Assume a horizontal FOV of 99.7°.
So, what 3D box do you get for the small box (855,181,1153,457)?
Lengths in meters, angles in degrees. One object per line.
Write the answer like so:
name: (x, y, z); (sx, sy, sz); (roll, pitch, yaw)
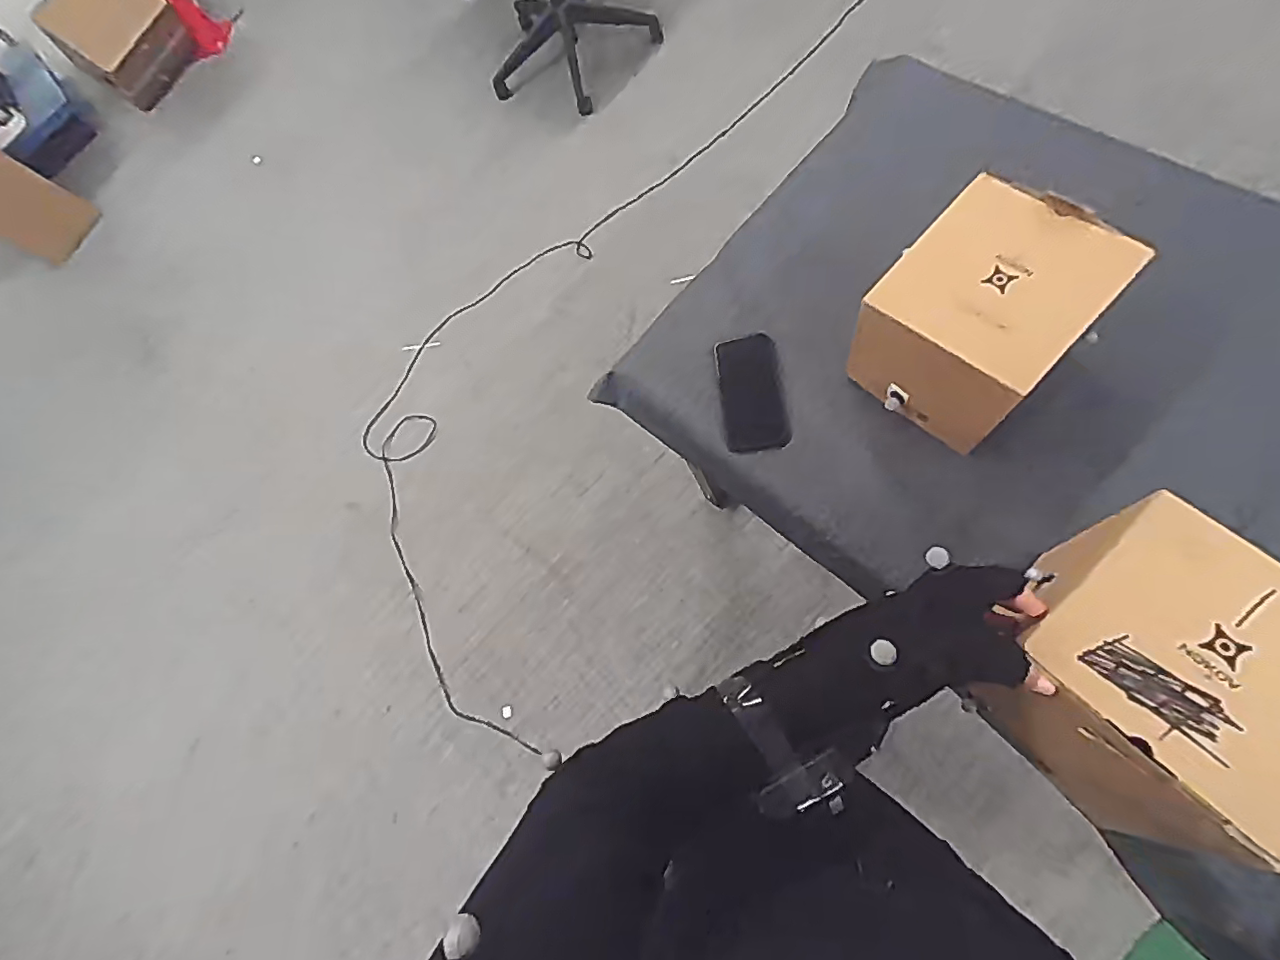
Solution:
small box: (0.347, -0.155, 0.563); (0.168, 0.176, 0.179); (42, 88, 23)
